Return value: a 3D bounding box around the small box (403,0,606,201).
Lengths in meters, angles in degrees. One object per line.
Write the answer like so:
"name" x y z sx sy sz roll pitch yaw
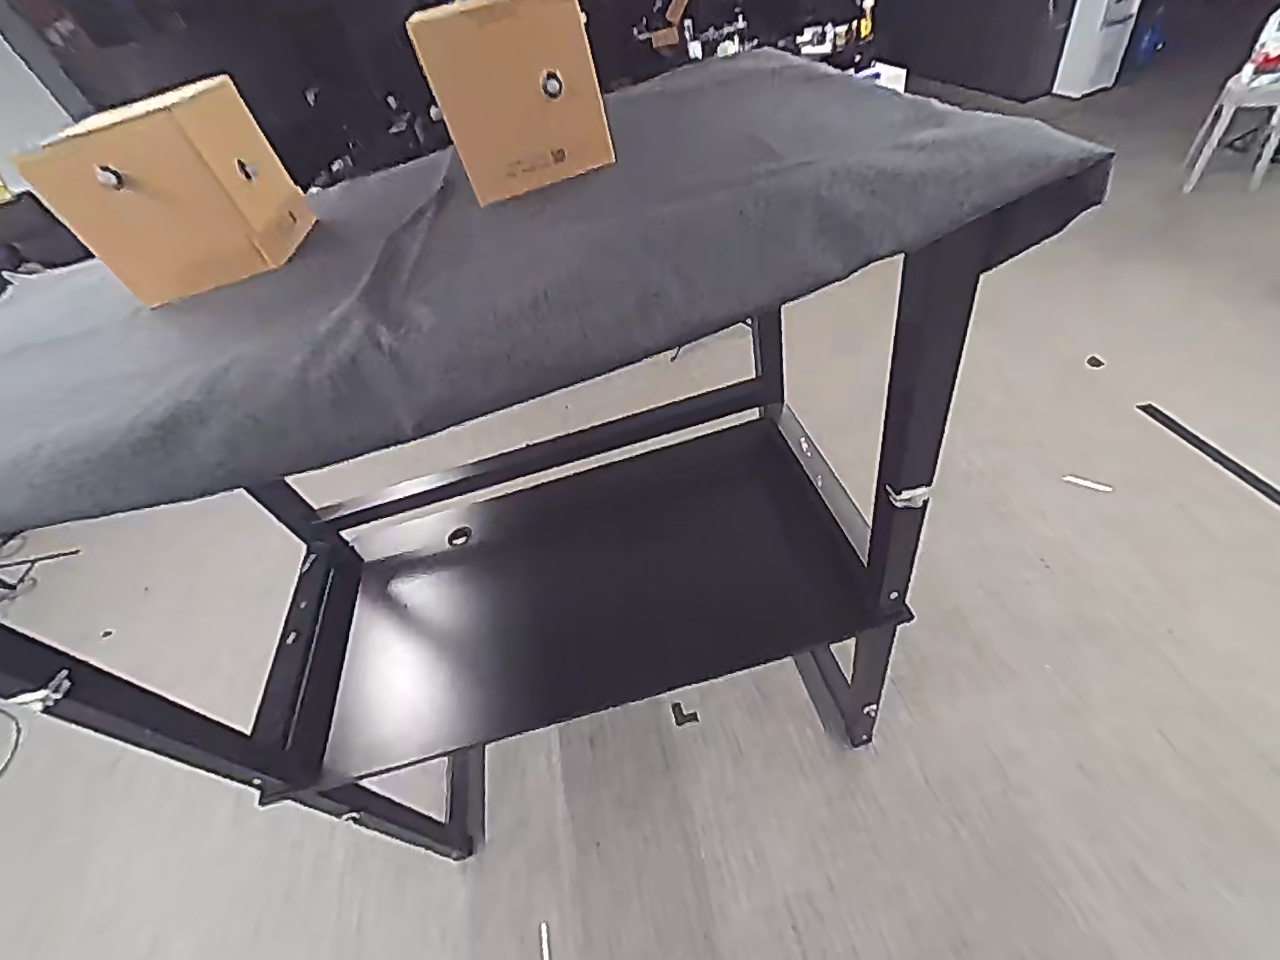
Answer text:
"small box" -0.147 -0.446 0.622 0.168 0.176 0.179 -18 46 -1

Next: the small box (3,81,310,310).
"small box" -0.530 -0.328 0.632 0.179 0.176 0.168 -17 46 2
